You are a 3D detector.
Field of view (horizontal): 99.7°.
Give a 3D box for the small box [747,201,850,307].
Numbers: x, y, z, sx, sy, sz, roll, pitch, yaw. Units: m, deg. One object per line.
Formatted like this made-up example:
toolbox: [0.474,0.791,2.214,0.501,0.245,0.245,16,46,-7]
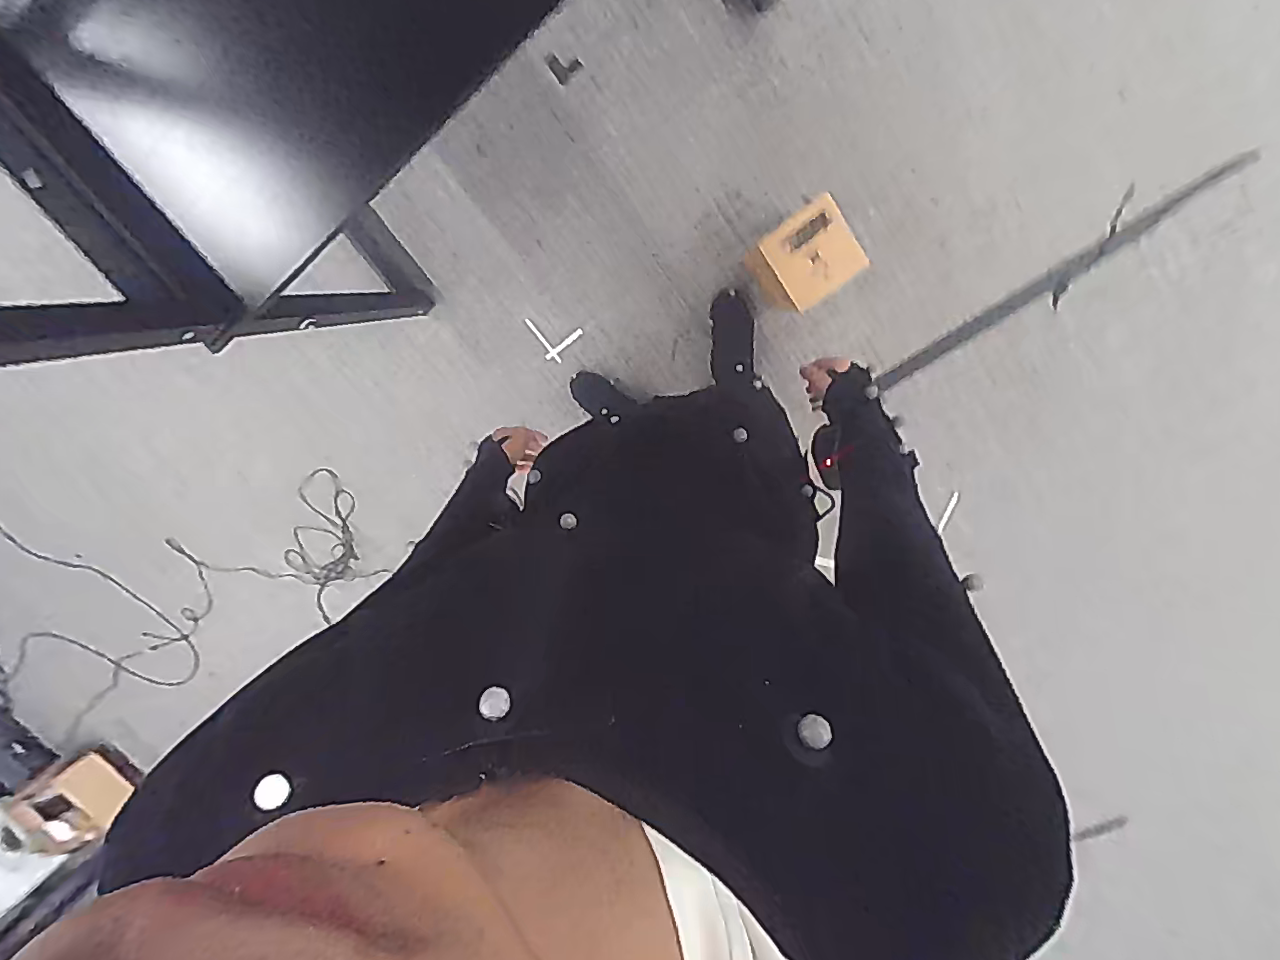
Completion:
small box: [0.381,-0.552,1.333,0.179,0.176,0.168,-36,102,18]
